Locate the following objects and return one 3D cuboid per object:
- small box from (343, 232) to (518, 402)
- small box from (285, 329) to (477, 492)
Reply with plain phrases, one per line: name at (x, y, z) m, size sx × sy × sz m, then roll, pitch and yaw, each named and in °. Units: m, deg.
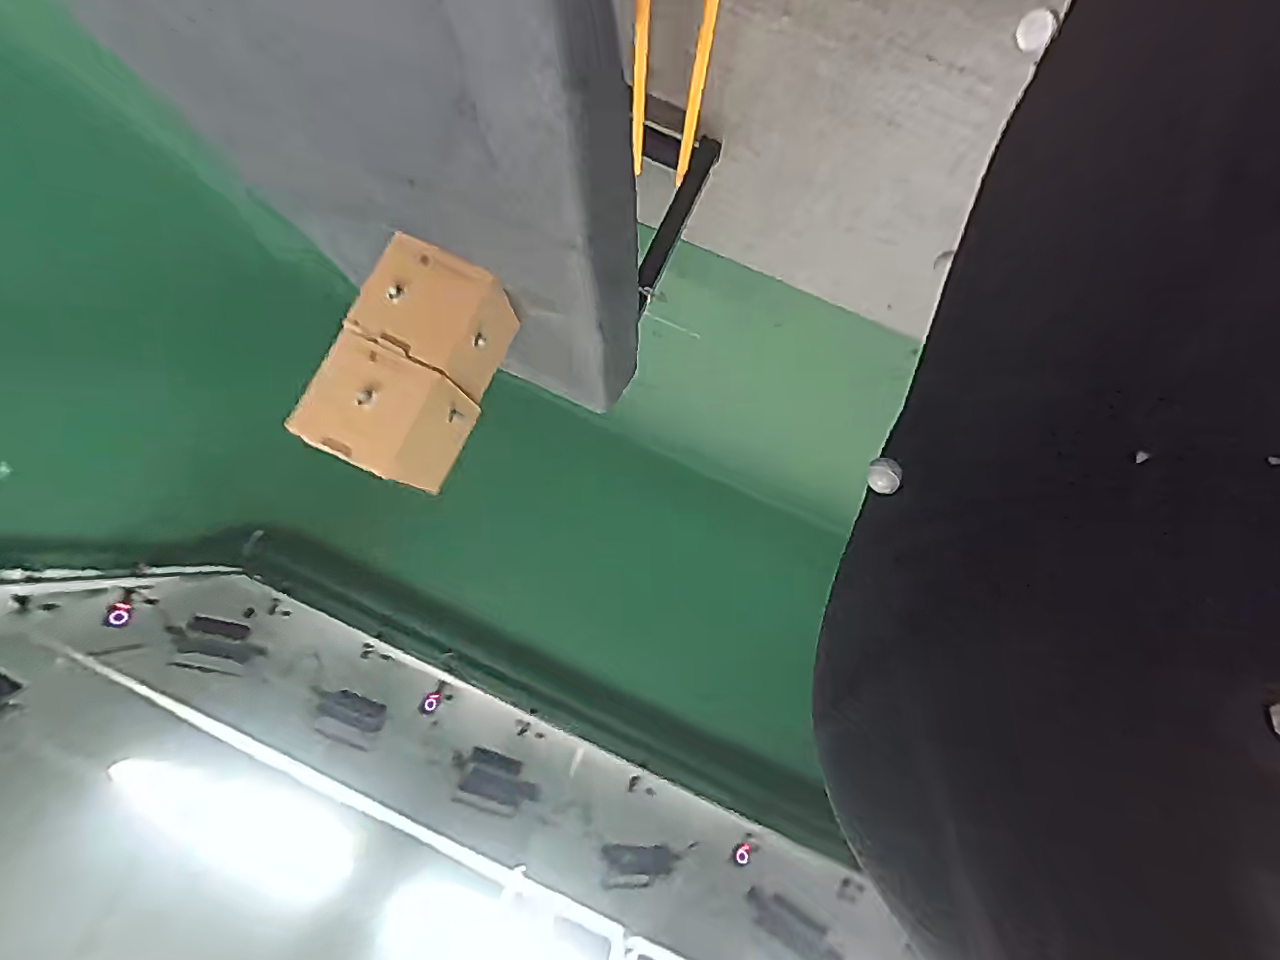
small box at (-0.314, -0.251, 0.850) m, size 0.168 × 0.176 × 0.179 m, roll 26°, pitch 173°, yaw 3°
small box at (-0.380, -0.101, 0.827) m, size 0.168 × 0.176 × 0.179 m, roll 26°, pitch 171°, yaw 6°
